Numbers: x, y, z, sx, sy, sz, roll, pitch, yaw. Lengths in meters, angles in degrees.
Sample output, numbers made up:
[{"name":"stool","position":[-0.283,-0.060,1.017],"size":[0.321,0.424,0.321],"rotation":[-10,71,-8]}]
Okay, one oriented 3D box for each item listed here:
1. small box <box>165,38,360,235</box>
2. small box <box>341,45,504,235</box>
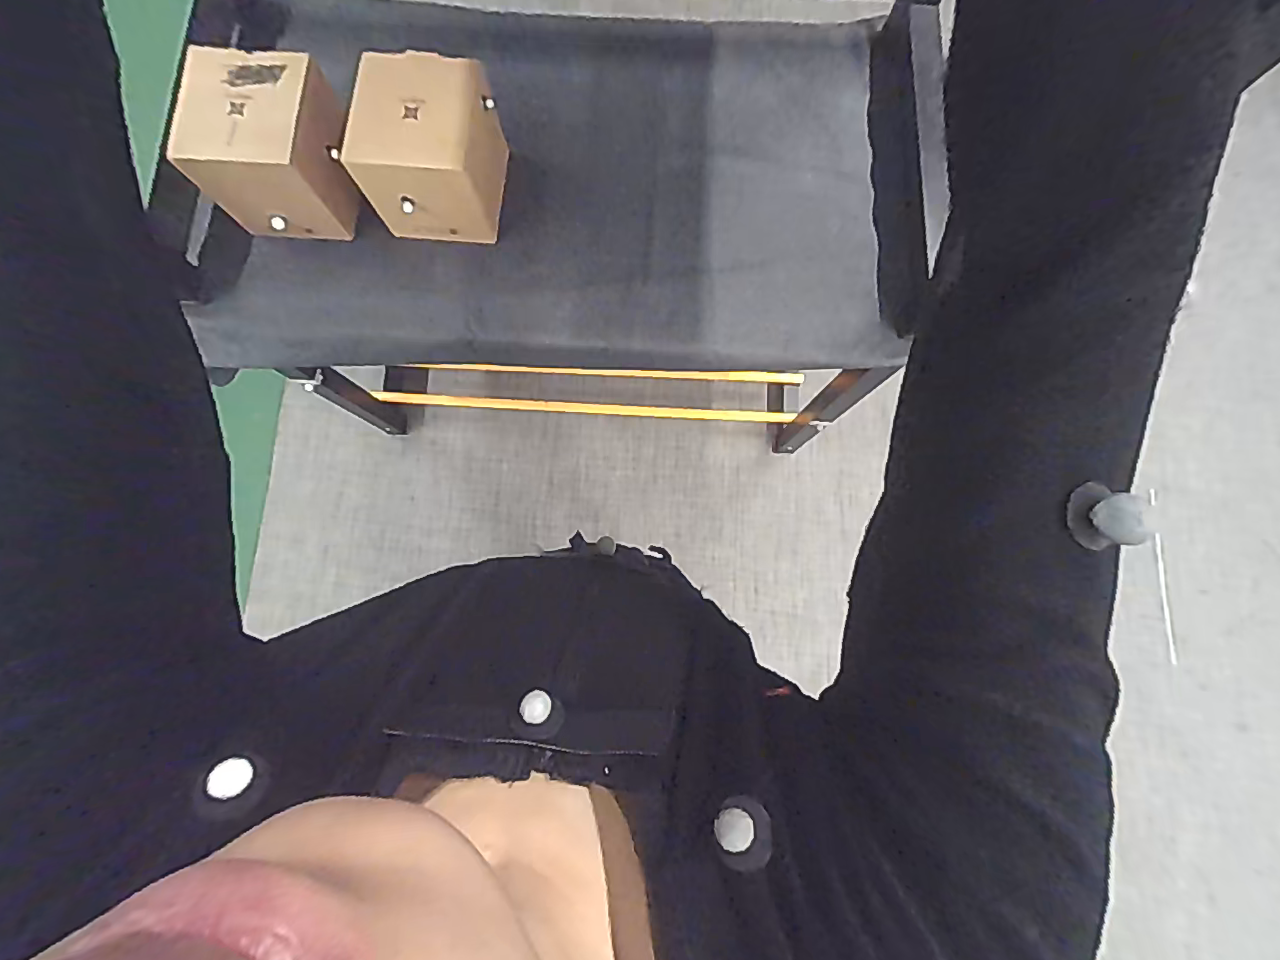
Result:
[{"name":"small box","position":[-0.536,-0.497,0.799],"size":[0.168,0.176,0.179],"rotation":[3,80,0]},{"name":"small box","position":[-0.309,-0.492,0.804],"size":[0.168,0.176,0.179],"rotation":[4,80,0]}]
